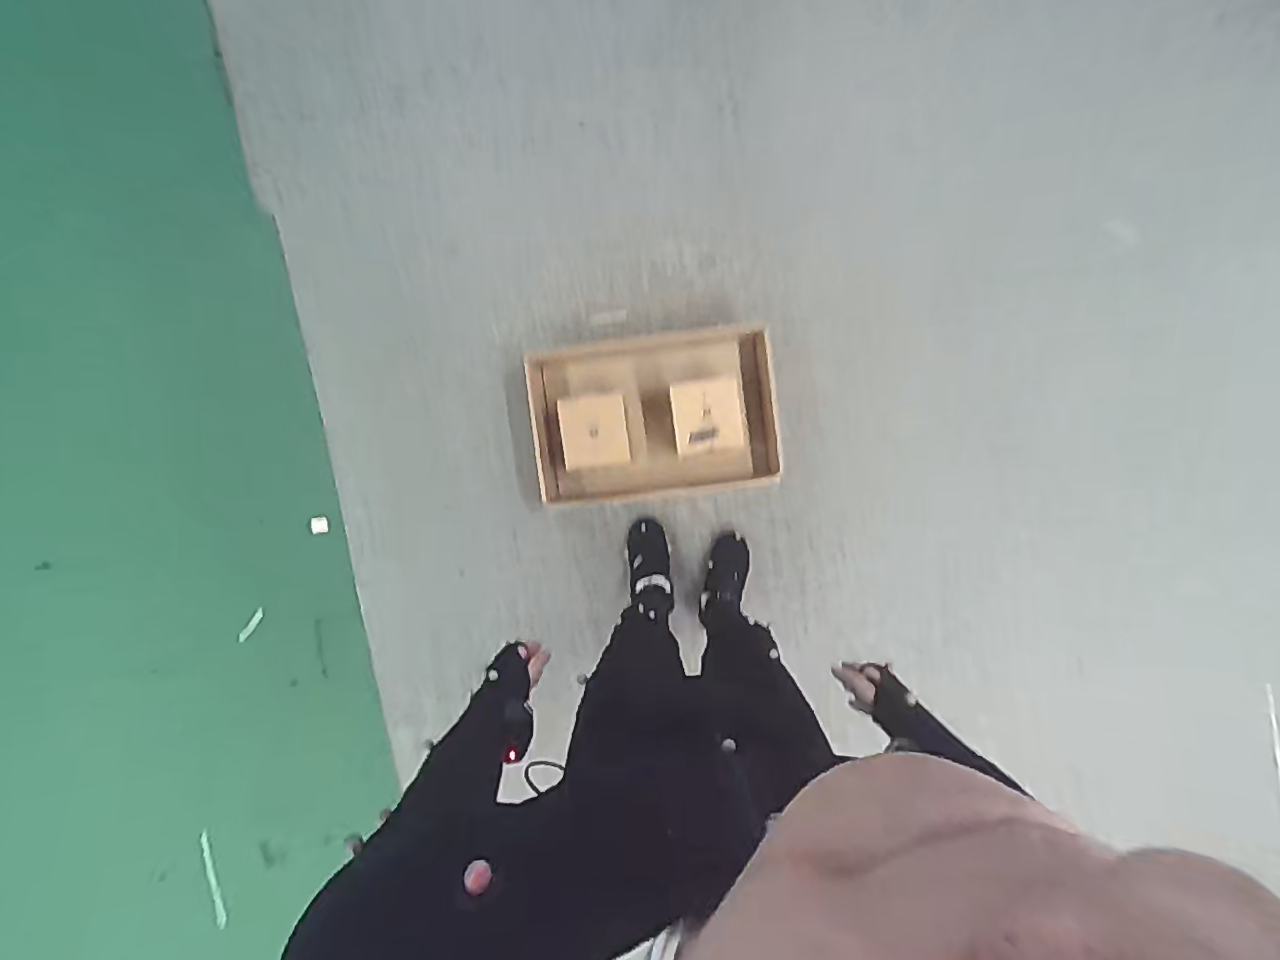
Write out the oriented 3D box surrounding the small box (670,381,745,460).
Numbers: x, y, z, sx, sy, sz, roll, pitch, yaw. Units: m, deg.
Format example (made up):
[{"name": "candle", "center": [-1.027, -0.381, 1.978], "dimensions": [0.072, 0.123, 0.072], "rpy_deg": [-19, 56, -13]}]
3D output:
[{"name": "small box", "center": [0.169, -0.147, 1.389], "dimensions": [0.168, 0.176, 0.179], "rpy_deg": [-8, 91, 3]}]
